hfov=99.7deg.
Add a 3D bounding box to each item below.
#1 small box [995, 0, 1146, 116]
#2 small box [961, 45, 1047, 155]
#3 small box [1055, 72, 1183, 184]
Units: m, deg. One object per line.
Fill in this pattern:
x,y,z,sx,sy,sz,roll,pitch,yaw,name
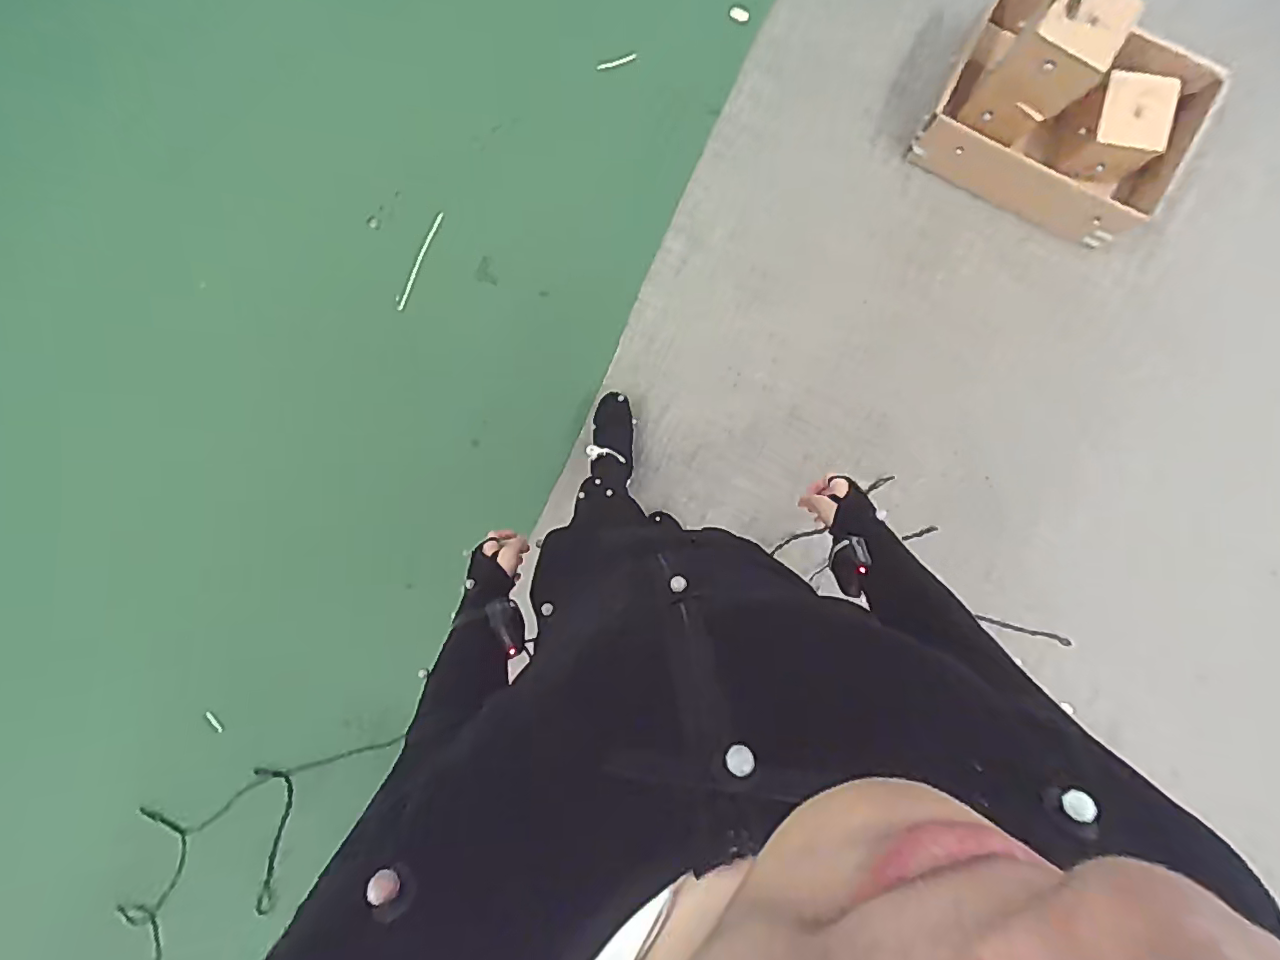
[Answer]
0.970,-0.989,1.239,0.179,0.176,0.168,30,93,0,small box
0.977,-0.996,1.402,0.168,0.176,0.179,37,93,0,small box
1.220,-0.896,1.392,0.168,0.176,0.179,11,93,3,small box
